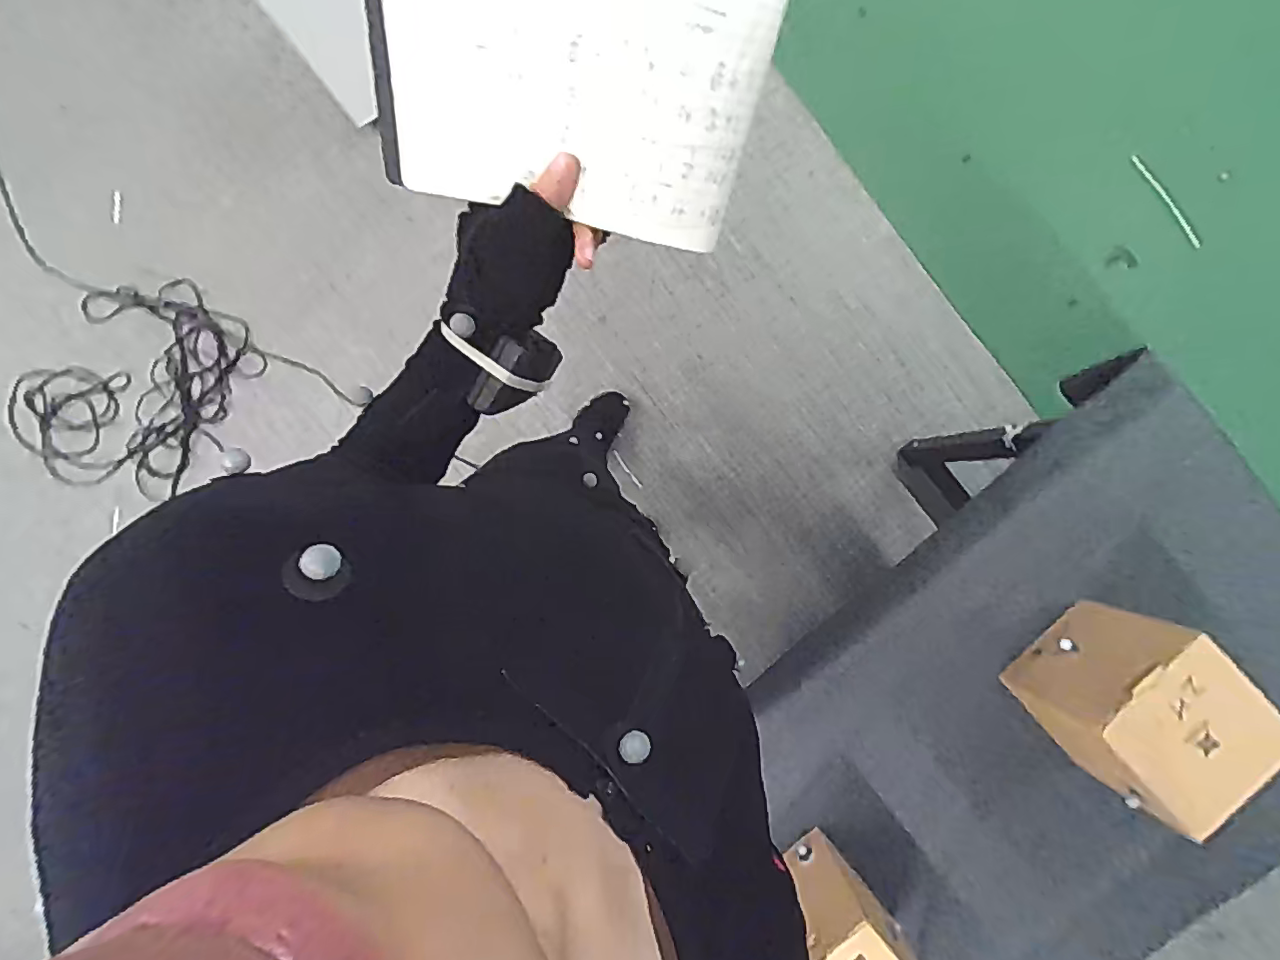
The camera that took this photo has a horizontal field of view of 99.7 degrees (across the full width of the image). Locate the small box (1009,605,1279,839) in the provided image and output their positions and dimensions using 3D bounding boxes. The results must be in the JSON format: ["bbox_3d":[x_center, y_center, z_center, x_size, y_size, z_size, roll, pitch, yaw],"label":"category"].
[{"bbox_3d":[0.630,0.285,0.682,0.168,0.176,0.179,-43,91,-1],"label":"small box"}]

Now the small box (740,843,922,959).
[{"bbox_3d":[0.249,0.603,0.676,0.168,0.176,0.179,-39,91,-1],"label":"small box"}]
